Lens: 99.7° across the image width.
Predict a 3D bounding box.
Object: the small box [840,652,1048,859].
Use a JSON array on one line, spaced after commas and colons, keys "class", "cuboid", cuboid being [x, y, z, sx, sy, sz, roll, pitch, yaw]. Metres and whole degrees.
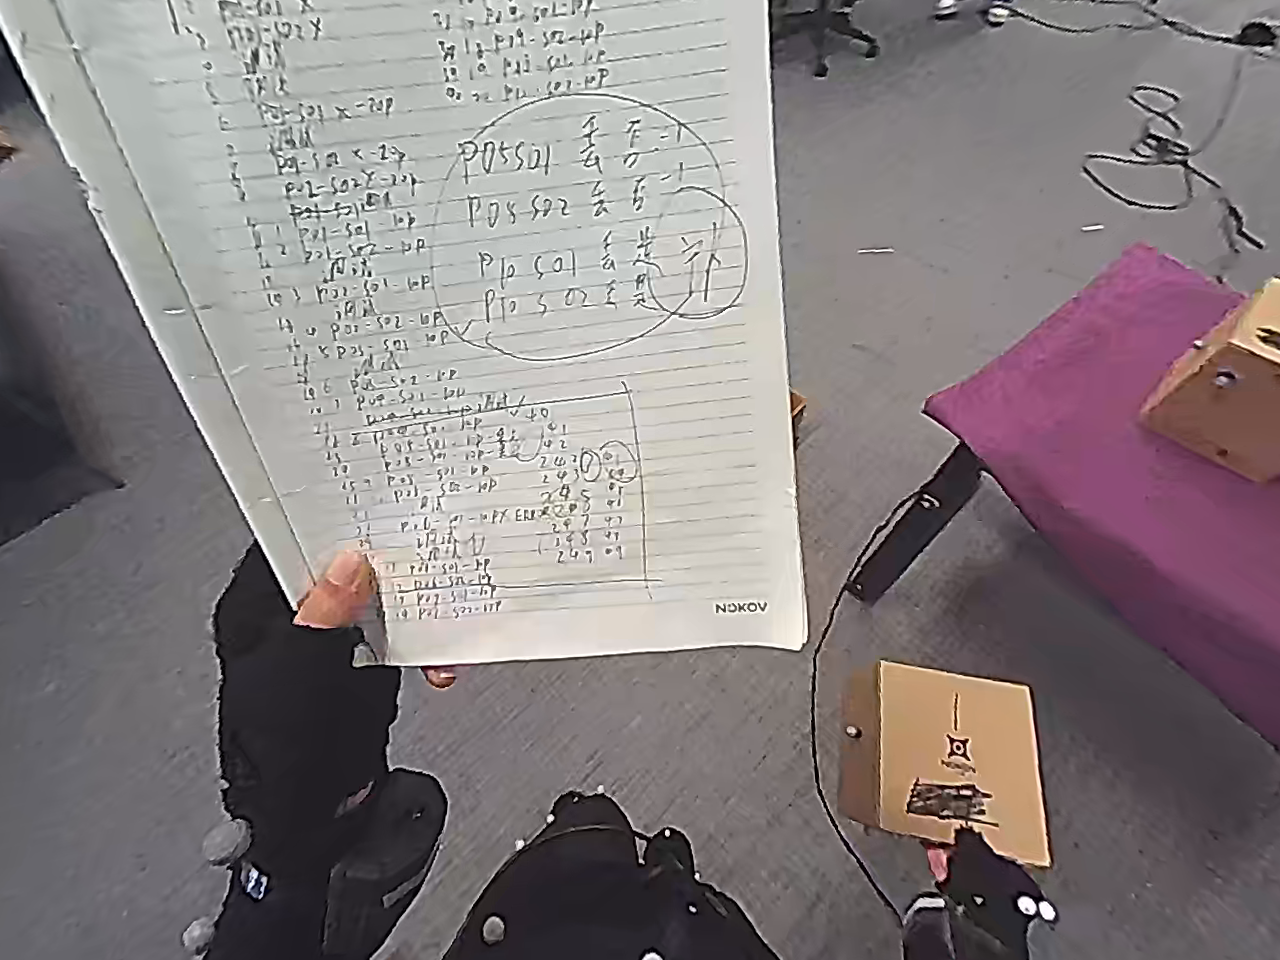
[{"class": "small box", "cuboid": [0.351, 0.326, 0.658, 0.168, 0.176, 0.179, 9, 64, 8]}]
